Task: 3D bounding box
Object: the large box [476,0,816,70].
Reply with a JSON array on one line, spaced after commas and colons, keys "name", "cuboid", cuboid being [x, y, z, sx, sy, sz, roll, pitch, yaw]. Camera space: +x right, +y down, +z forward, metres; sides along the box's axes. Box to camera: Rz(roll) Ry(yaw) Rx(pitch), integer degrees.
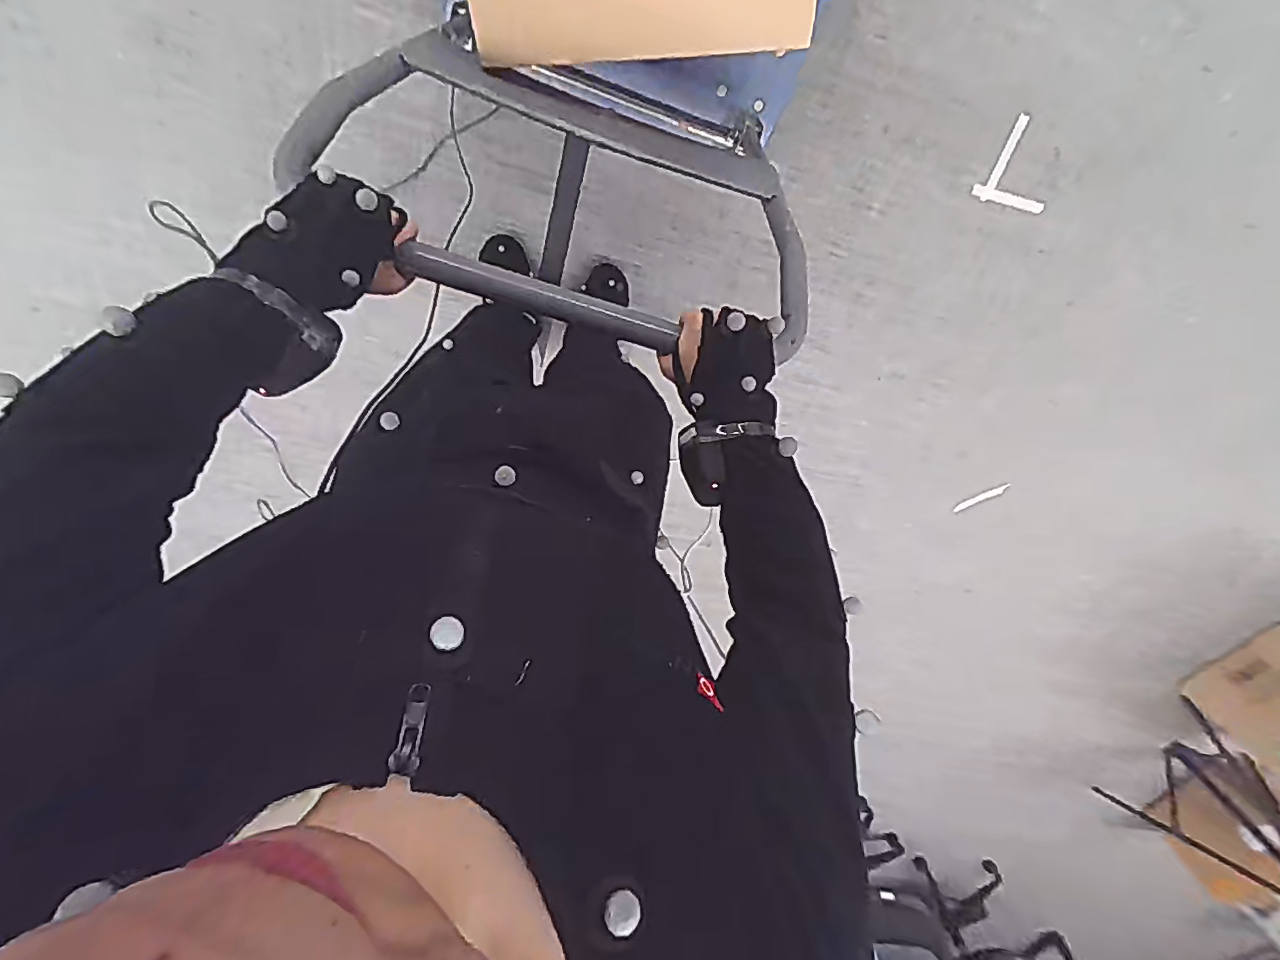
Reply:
[{"name": "large box", "cuboid": [-0.002, -0.733, 0.669, 0.408, 0.320, 0.320, -2, 133, 2]}]
